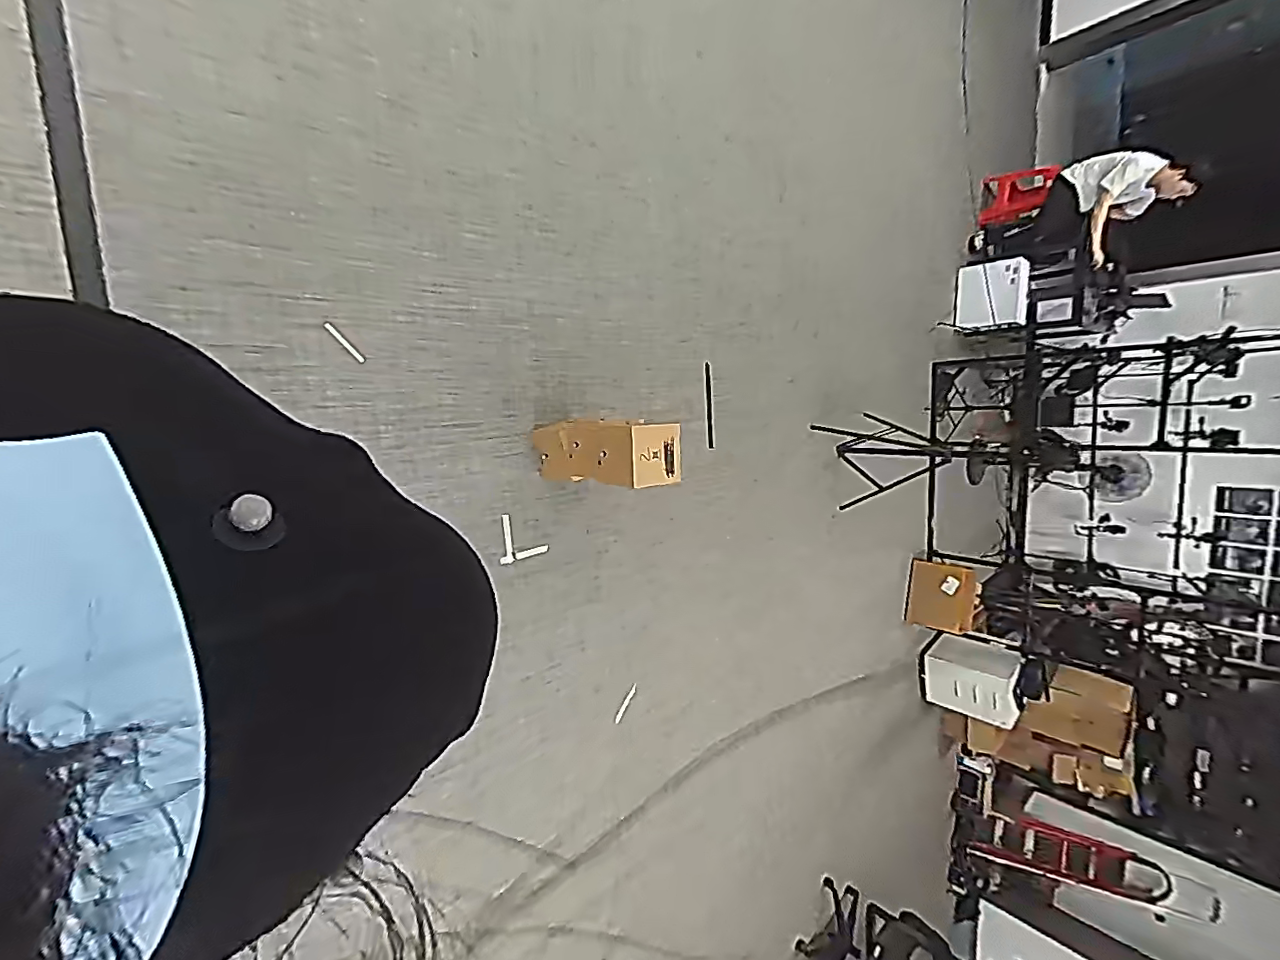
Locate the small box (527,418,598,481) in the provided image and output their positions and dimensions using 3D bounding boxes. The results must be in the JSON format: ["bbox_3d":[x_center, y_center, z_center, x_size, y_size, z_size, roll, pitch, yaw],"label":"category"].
[{"bbox_3d":[-0.236,-0.104,1.751,0.179,0.176,0.168,-25,110,-39],"label":"small box"}]

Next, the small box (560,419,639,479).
[{"bbox_3d":[-0.121,-0.099,1.636,0.179,0.176,0.168,-9,100,-42],"label":"small box"}]
